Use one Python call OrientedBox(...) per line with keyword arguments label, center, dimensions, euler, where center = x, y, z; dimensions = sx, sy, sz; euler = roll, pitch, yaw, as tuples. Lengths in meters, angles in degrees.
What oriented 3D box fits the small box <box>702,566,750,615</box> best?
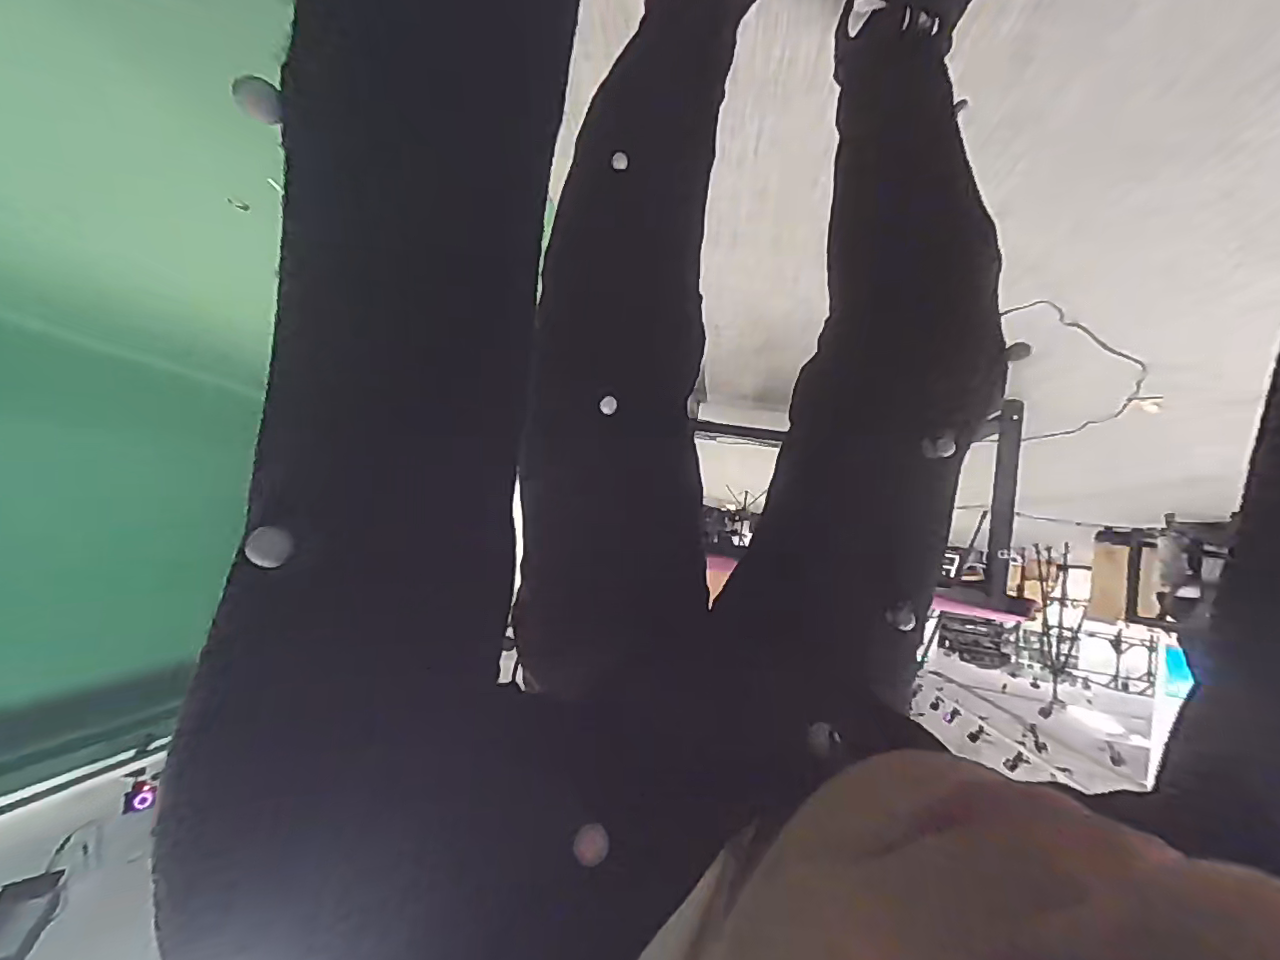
OrientedBox(label="small box", center=(0.356, 0.455, 2.245), dimensions=(0.168, 0.176, 0.179), euler=(9, 175, 2))
